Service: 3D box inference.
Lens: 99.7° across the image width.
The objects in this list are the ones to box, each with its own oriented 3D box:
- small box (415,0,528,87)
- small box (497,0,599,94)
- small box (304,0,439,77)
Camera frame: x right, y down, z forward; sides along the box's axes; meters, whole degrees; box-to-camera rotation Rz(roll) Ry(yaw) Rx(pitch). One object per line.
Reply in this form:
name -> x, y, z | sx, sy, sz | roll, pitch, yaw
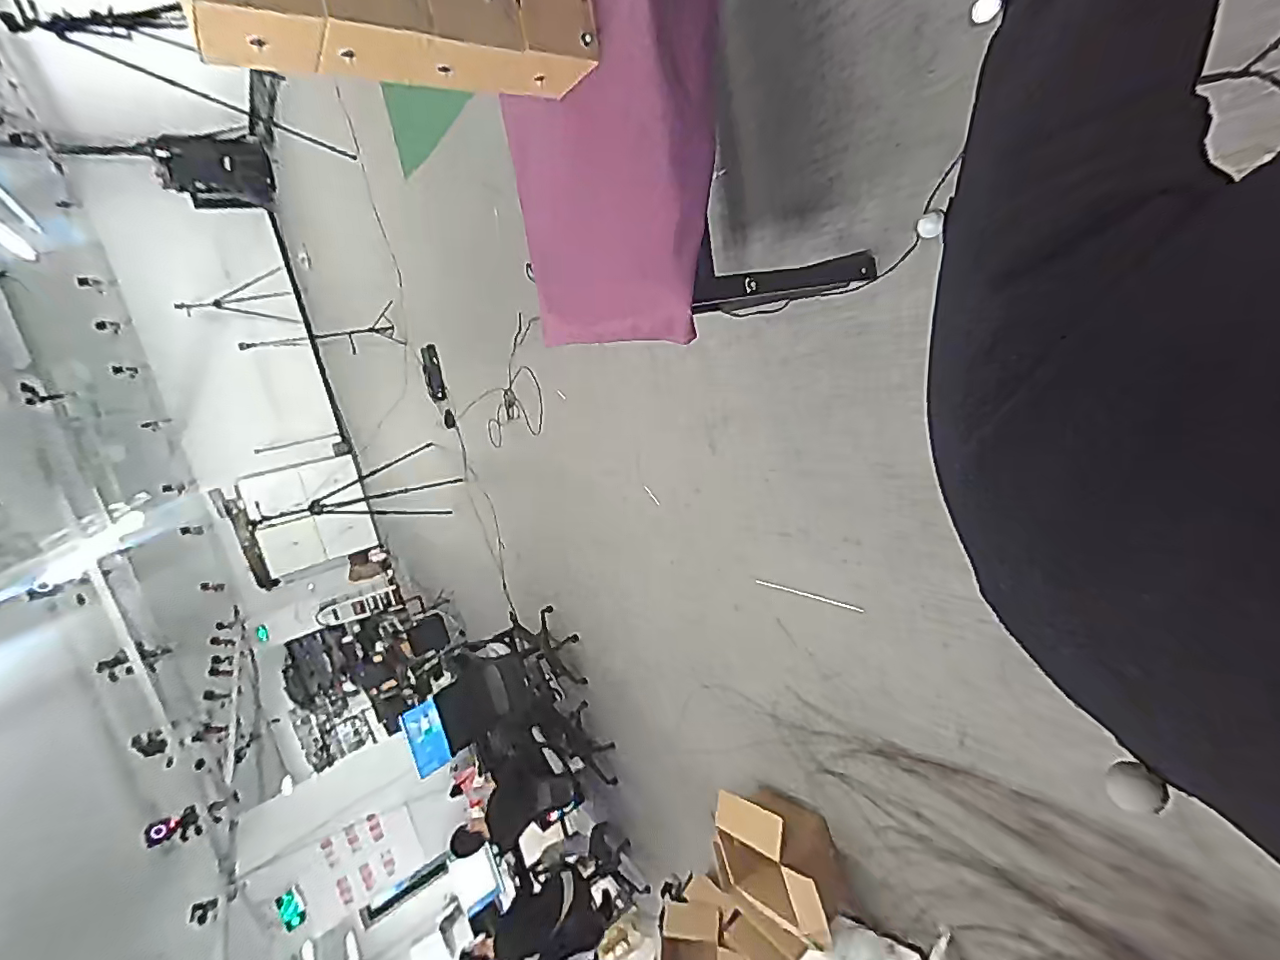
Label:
small box -> -0.328, -0.861, 0.999 | 0.179, 0.176, 0.168 | 11, 115, 52
small box -> -0.194, -0.907, 1.082 | 0.179, 0.176, 0.168 | 12, 116, 53
small box -> -0.459, -0.817, 0.912 | 0.179, 0.176, 0.168 | 11, 115, 52
